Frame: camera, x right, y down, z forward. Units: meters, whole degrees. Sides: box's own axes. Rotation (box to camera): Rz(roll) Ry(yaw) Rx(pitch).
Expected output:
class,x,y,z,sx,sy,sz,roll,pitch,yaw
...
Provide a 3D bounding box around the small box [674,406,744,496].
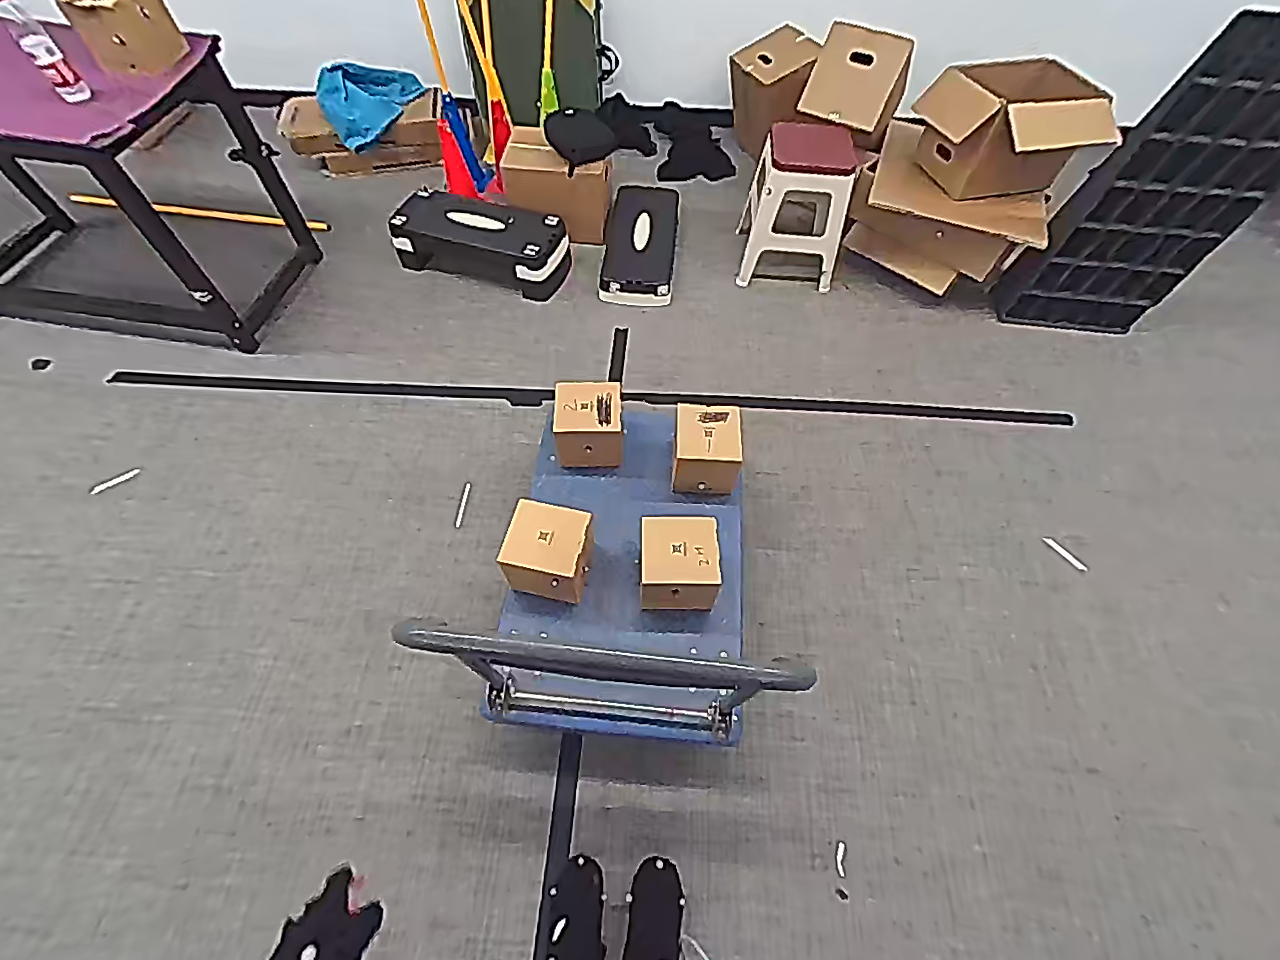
class,x,y,z,sx,sy,sz,roll,pitch,yaw
small box,0.180,-0.076,1.456,0.168,0.176,0.179,3,59,1

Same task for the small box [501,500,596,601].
class,x,y,z,sx,sy,sz,roll,pitch,yaw
small box,-0.210,0.173,1.292,0.179,0.176,0.168,12,58,4

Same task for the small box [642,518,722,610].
class,x,y,z,sx,sy,sz,roll,pitch,yaw
small box,0.092,0.203,1.282,0.179,0.176,0.168,1,58,-1
